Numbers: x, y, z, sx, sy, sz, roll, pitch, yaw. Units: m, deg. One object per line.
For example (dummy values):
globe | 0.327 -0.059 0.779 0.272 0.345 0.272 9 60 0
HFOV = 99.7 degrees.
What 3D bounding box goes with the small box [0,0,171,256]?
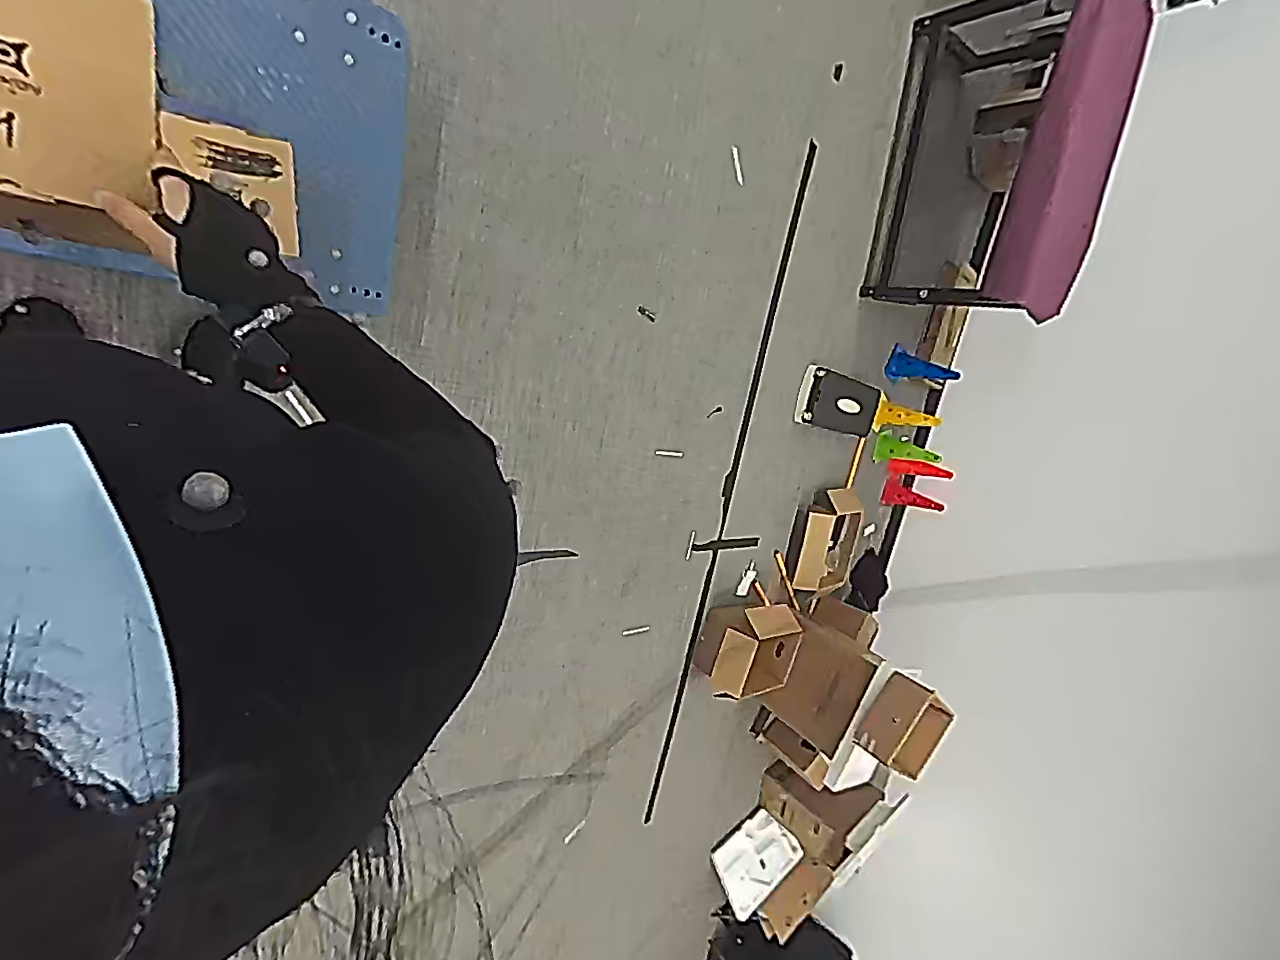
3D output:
small box | -0.498 -0.304 0.443 0.168 0.176 0.179 -1 99 -42
